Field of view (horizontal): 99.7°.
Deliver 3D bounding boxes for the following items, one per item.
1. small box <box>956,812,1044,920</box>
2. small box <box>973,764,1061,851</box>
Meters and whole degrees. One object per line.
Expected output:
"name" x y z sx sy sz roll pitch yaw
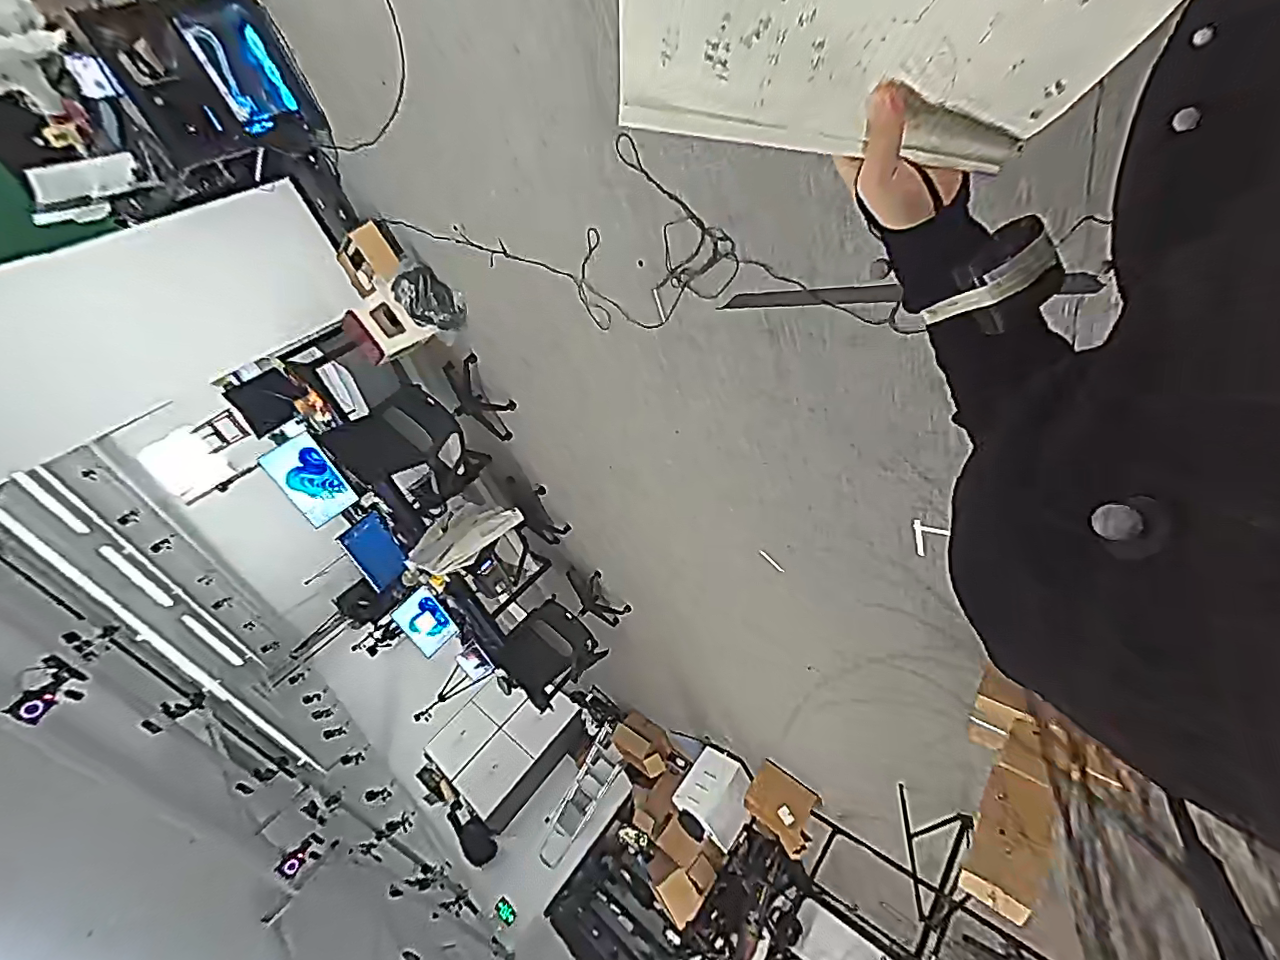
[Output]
"small box" 1.035 1.104 1.555 0.168 0.176 0.179 18 141 39
"small box" 1.132 0.994 1.629 0.179 0.176 0.168 16 140 40
